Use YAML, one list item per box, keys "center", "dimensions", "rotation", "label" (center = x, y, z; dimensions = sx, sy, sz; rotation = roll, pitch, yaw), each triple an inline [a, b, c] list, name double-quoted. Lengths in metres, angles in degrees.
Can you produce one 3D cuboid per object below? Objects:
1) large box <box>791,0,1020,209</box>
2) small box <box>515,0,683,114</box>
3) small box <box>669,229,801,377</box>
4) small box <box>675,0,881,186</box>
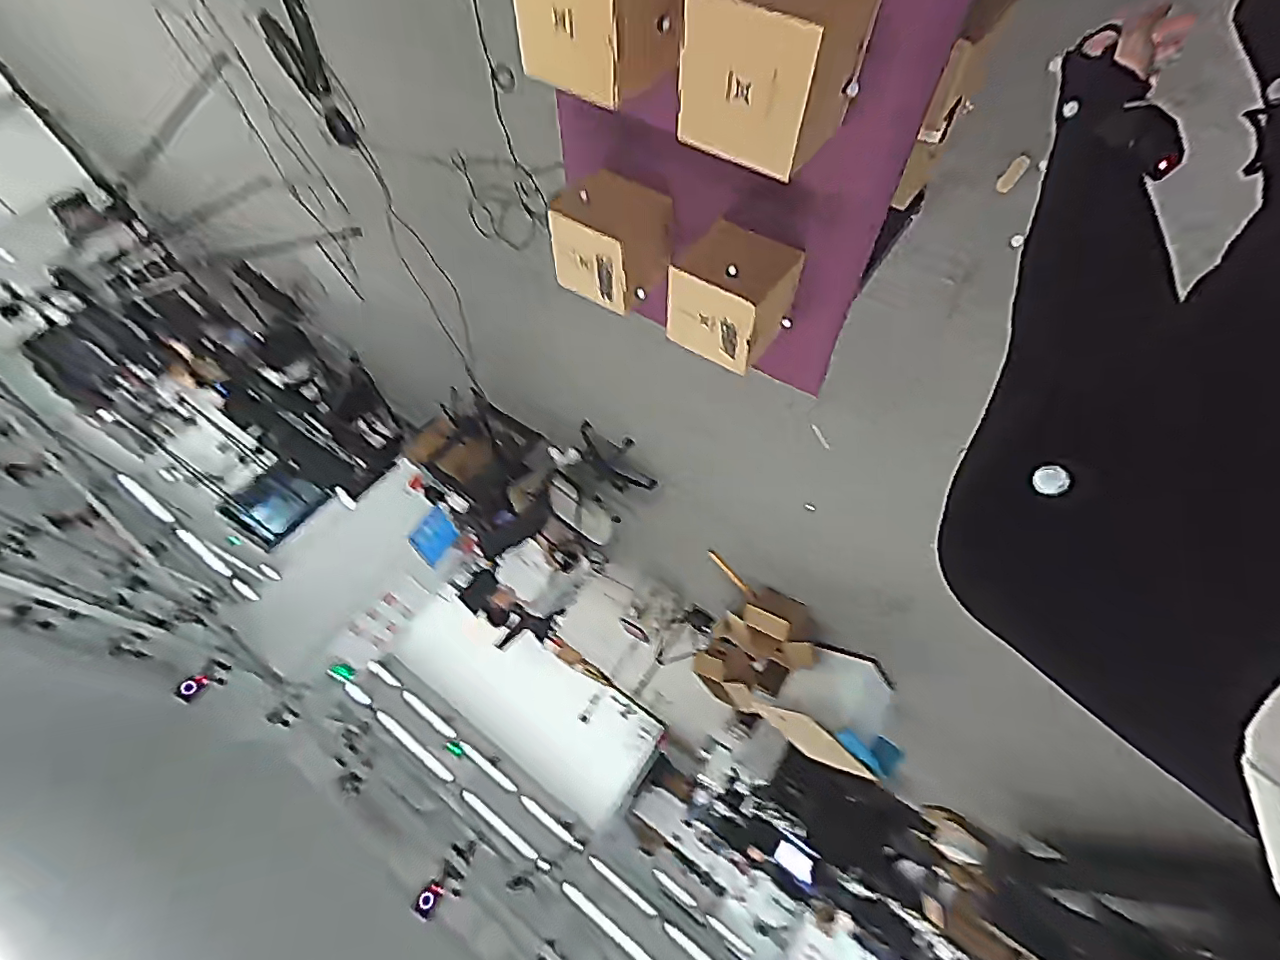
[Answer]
- center: [0.516, -0.876, 1.193]
  dimensions: [0.408, 0.320, 0.320]
  rotation: [32, 154, 19]
  label: "large box"
- center: [-0.056, -0.663, 0.762]
  dimensions: [0.179, 0.176, 0.168]
  rotation: [31, 154, 16]
  label: "small box"
- center: [0.172, -0.330, 0.997]
  dimensions: [0.179, 0.176, 0.168]
  rotation: [32, 154, 20]
  label: "small box"
- center: [0.167, -0.519, 0.688]
  dimensions: [0.179, 0.176, 0.168]
  rotation: [33, 155, 17]
  label: "small box"
